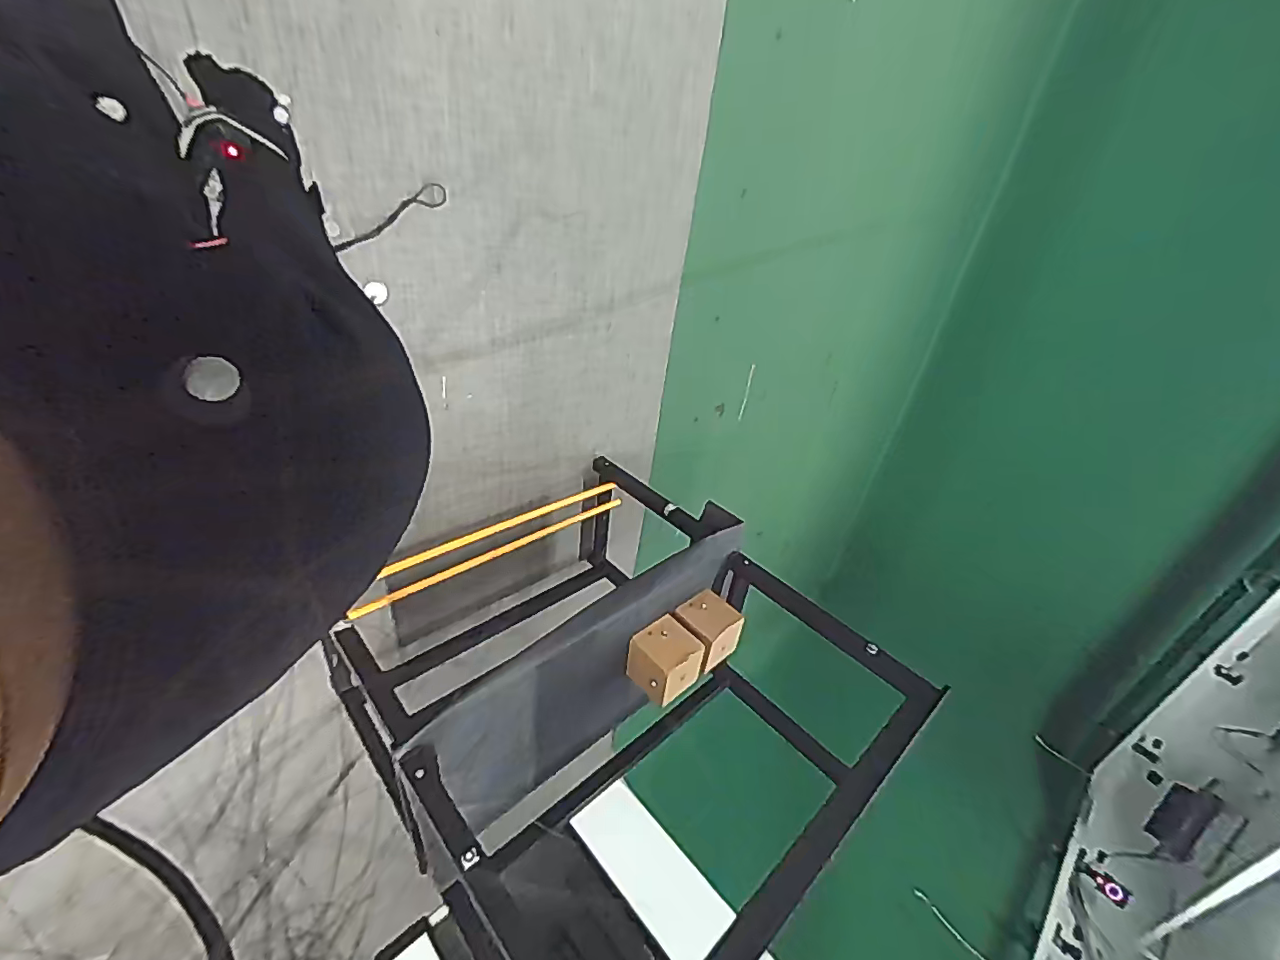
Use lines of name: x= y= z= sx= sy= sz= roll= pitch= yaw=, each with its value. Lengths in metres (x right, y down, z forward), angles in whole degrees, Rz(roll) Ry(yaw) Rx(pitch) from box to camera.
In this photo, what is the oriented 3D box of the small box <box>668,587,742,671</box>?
small box: x=0.211 y=0.496 z=1.816 sx=0.168 sy=0.176 sz=0.179 roll=-24 pitch=135 yaw=-37
